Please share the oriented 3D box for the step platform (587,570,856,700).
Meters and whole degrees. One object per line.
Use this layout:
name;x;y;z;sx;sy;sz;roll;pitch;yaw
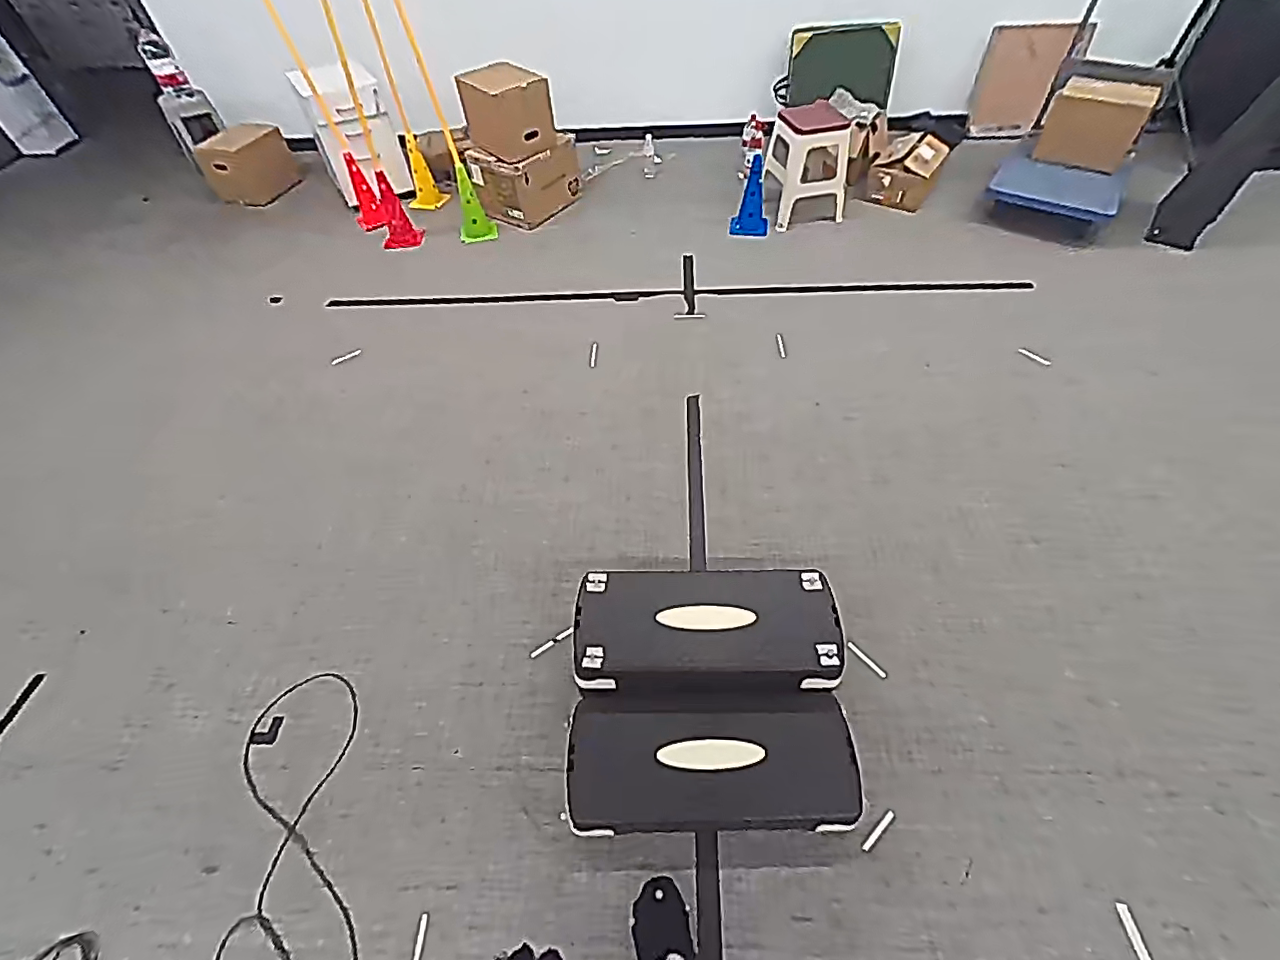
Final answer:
step platform;0.201;0.403;1.429;0.684;0.204;0.286;-1;51;1
